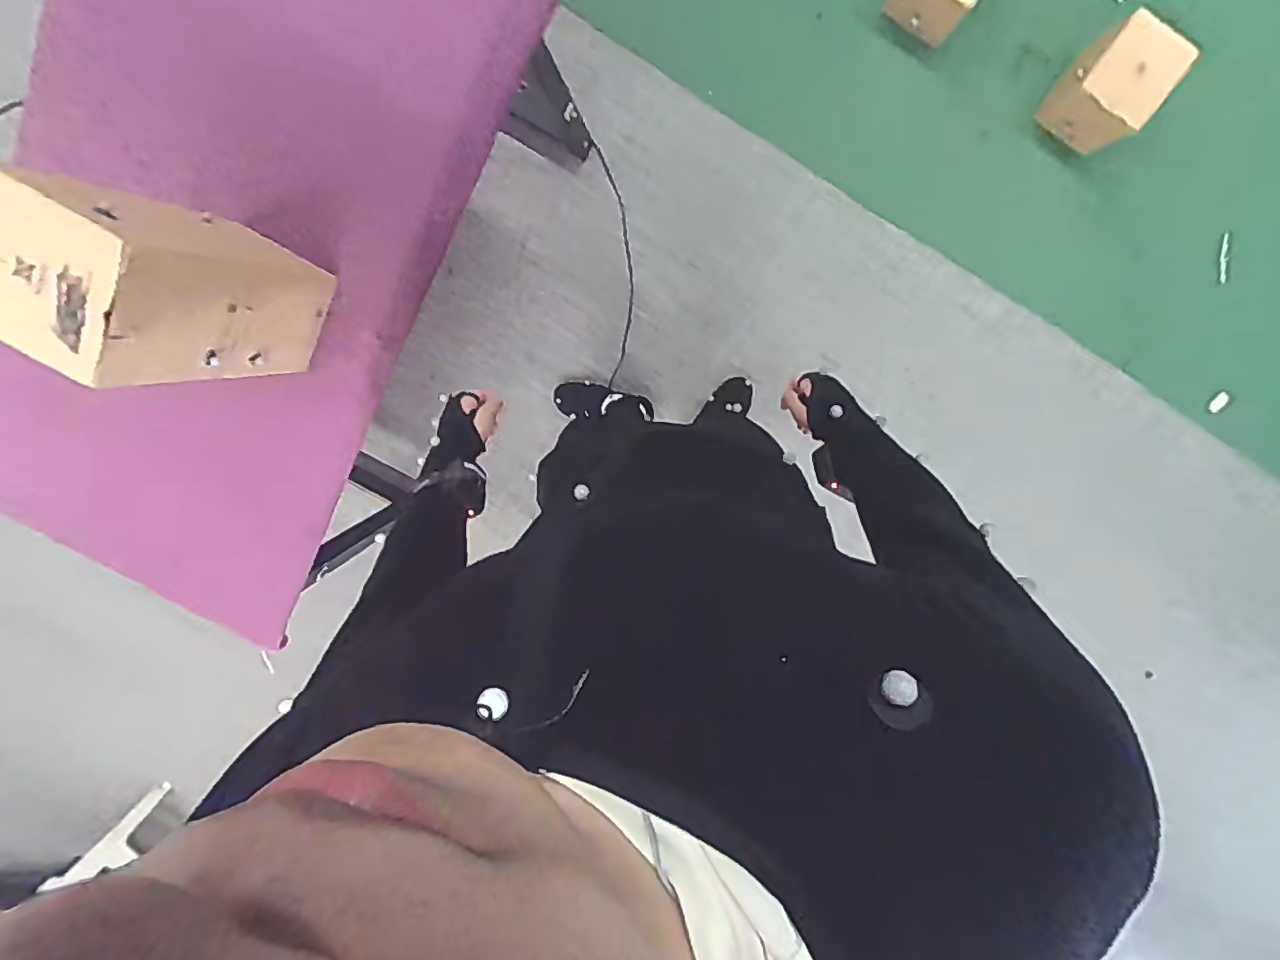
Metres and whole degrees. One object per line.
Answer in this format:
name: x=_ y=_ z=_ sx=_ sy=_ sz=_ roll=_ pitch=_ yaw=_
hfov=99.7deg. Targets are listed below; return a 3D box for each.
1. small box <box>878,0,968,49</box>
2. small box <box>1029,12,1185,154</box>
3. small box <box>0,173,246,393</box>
small box: x=0.669 y=-1.136 z=1.212 sx=0.168 sy=0.176 sz=0.179 roll=31 pitch=104 yaw=-4
small box: x=1.060 y=-0.902 z=1.248 sx=0.168 sy=0.176 sz=0.179 roll=32 pitch=105 yaw=-5
small box: x=-0.609 y=-0.220 z=0.621 sx=0.179 sy=0.176 sz=0.168 roll=29 pitch=105 yaw=-2
